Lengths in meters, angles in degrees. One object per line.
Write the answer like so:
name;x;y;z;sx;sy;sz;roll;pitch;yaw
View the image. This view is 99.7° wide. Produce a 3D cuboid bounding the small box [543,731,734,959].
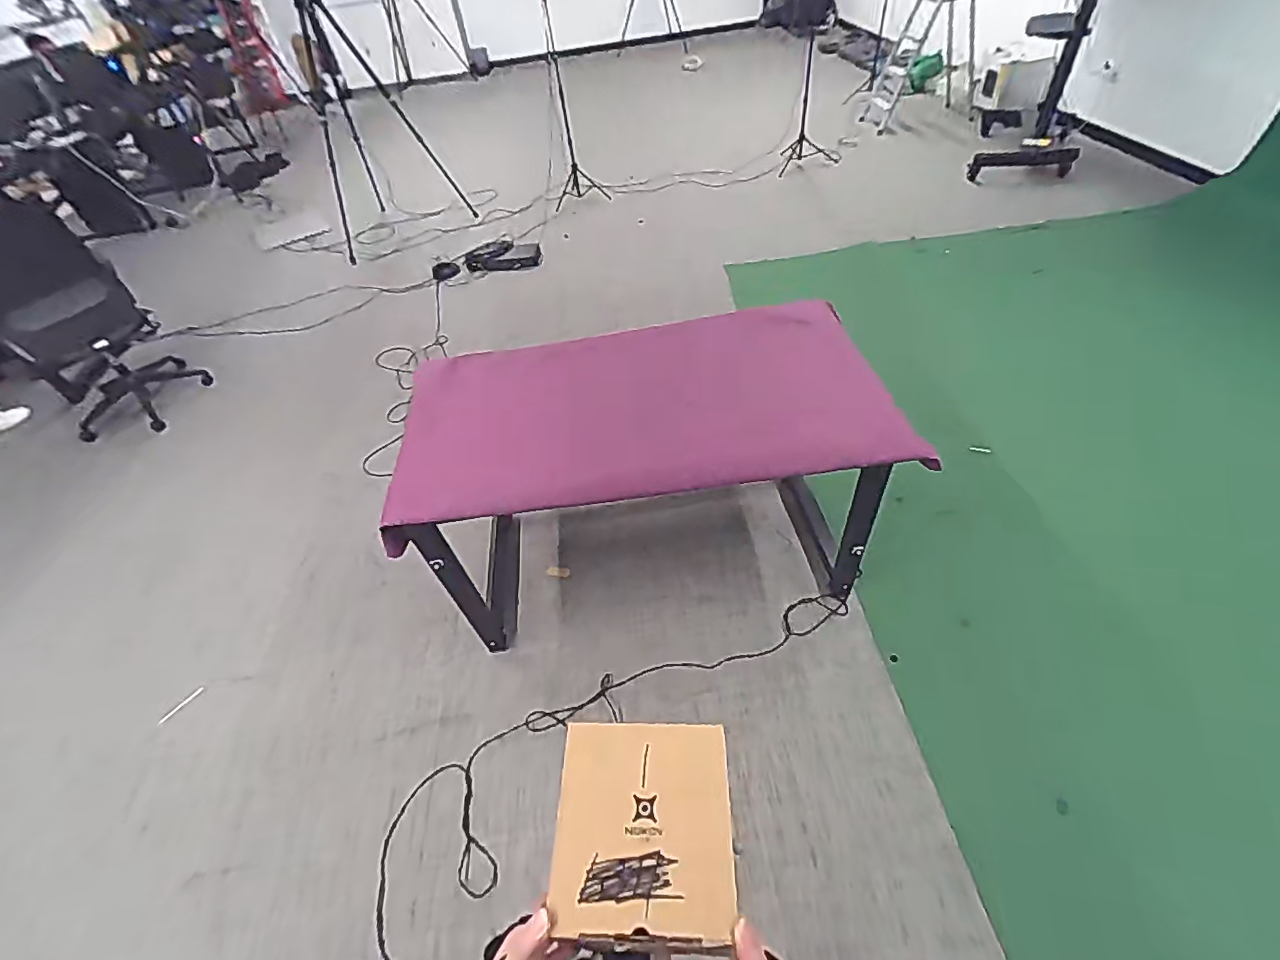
small box;0.005;0.382;0.564;0.168;0.176;0.179;0;47;2
